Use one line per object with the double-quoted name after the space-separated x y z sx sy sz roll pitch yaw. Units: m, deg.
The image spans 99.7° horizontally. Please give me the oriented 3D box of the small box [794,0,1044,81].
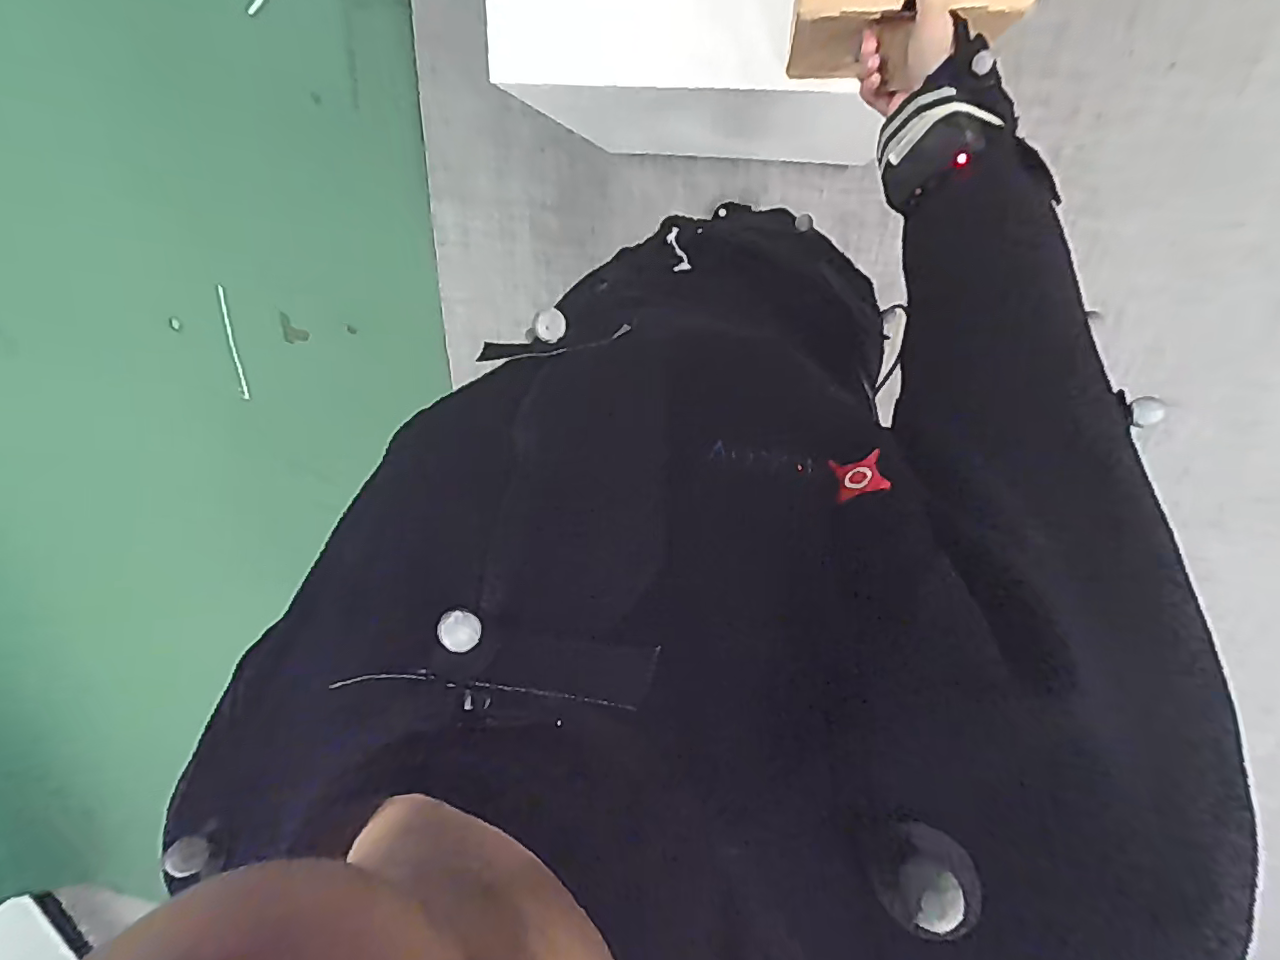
0.222 -0.450 0.434 0.168 0.176 0.179 6 114 9 "small box"
